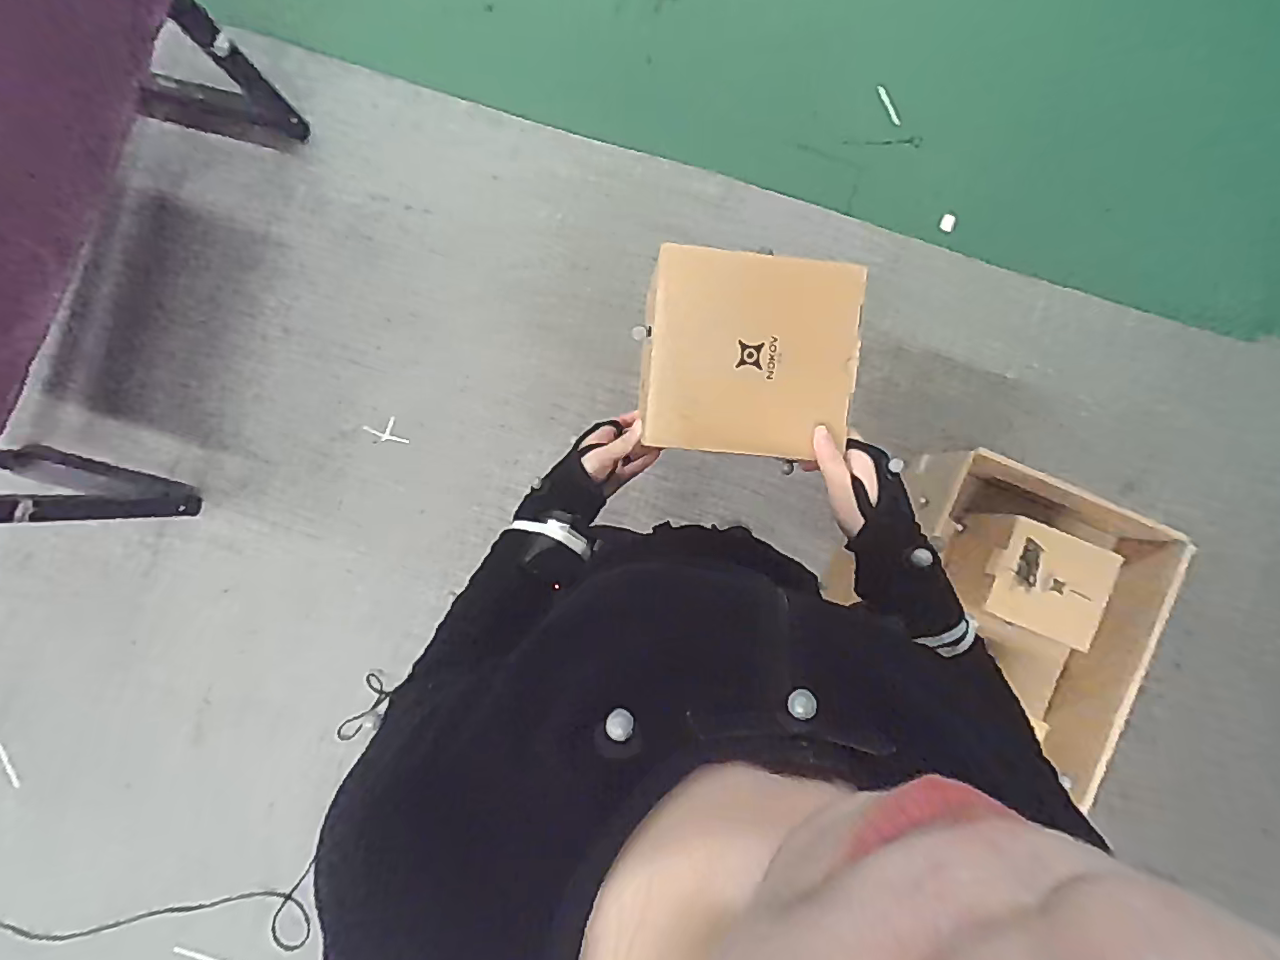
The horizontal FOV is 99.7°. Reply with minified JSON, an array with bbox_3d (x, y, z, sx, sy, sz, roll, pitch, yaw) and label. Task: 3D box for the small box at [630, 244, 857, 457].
[{"bbox_3d":[0.084,-0.112,0.530,0.179,0.176,0.168,4,95,-5],"label":"small box"}]
